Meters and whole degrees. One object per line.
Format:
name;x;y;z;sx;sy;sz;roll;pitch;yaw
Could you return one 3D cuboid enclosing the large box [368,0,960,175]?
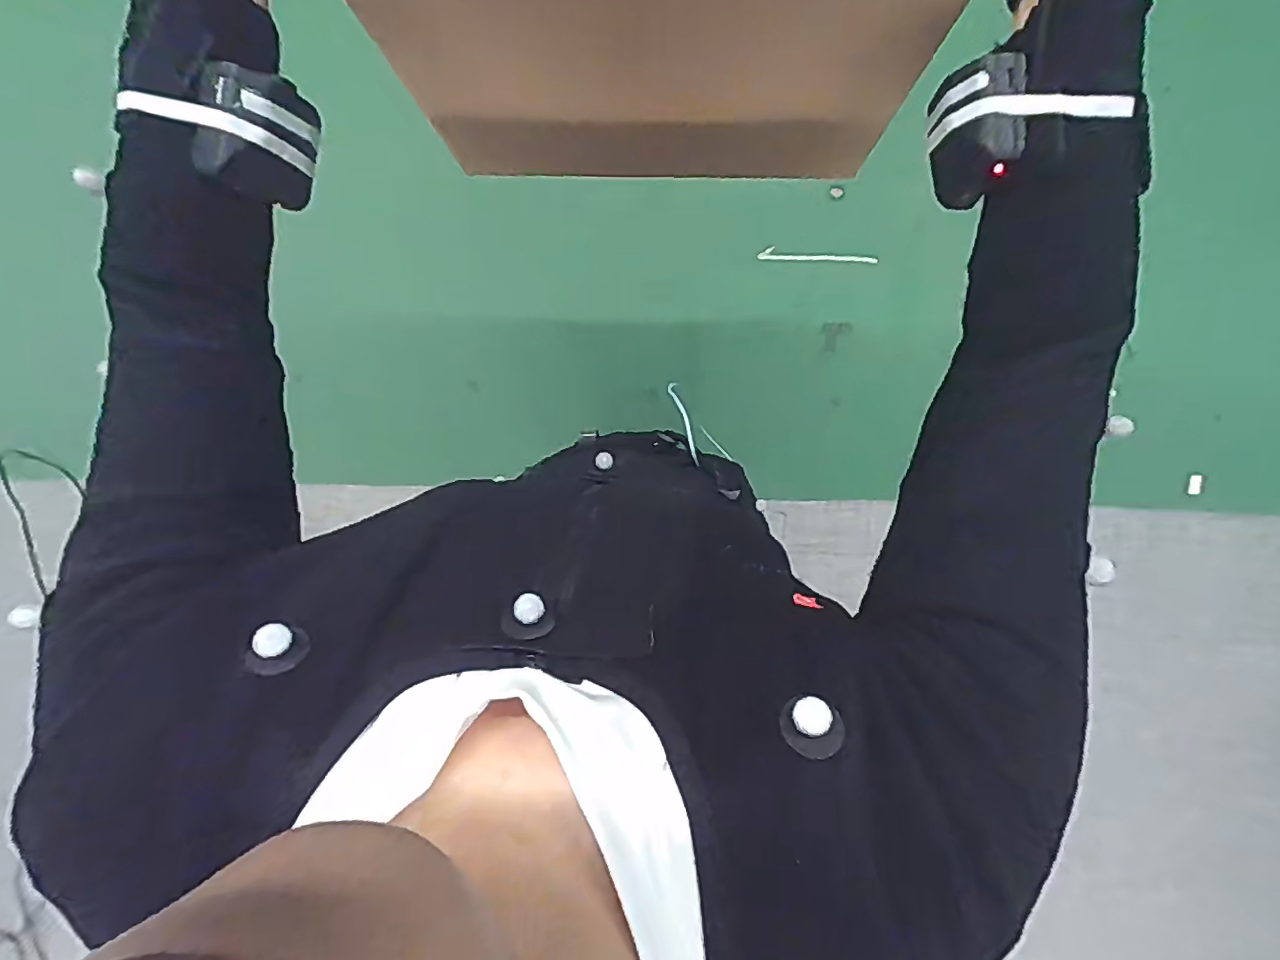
large box;0.017;-0.465;0.408;0.408;0.320;0.320;1;92;1
